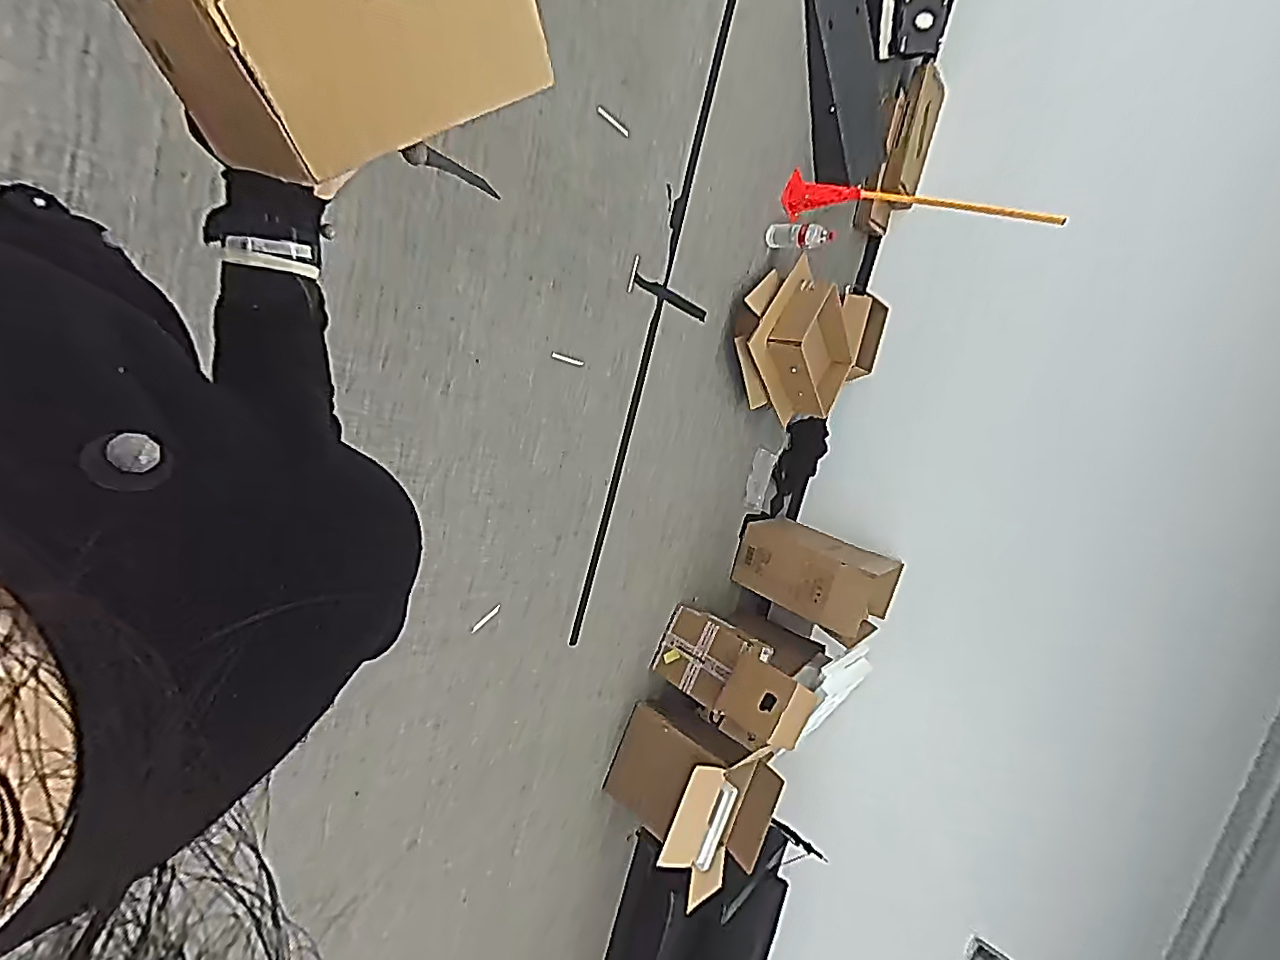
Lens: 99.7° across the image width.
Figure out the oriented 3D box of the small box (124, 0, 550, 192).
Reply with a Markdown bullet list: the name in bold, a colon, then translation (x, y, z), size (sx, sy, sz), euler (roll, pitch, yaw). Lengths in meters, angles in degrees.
- **small box**: translation (-0.189, -0.298, 0.321), size (0.179, 0.176, 0.168), euler (-42, 142, -24)
